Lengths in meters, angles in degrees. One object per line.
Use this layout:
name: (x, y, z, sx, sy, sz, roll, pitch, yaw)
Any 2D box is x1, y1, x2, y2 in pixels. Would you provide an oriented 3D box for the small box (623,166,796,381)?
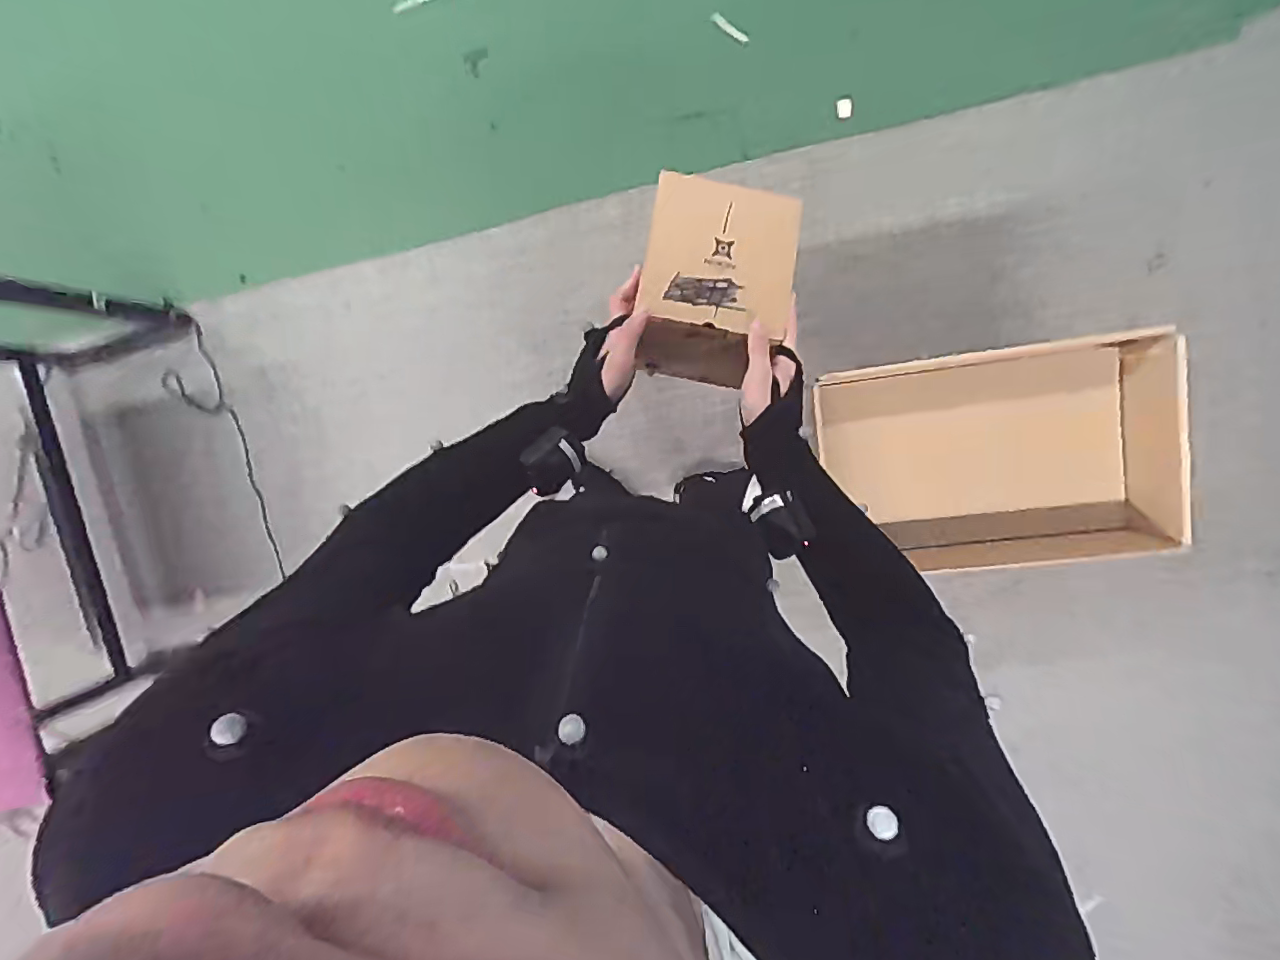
small box: (0.074, -0.236, 0.660, 0.168, 0.176, 0.179, 10, 82, -2)
